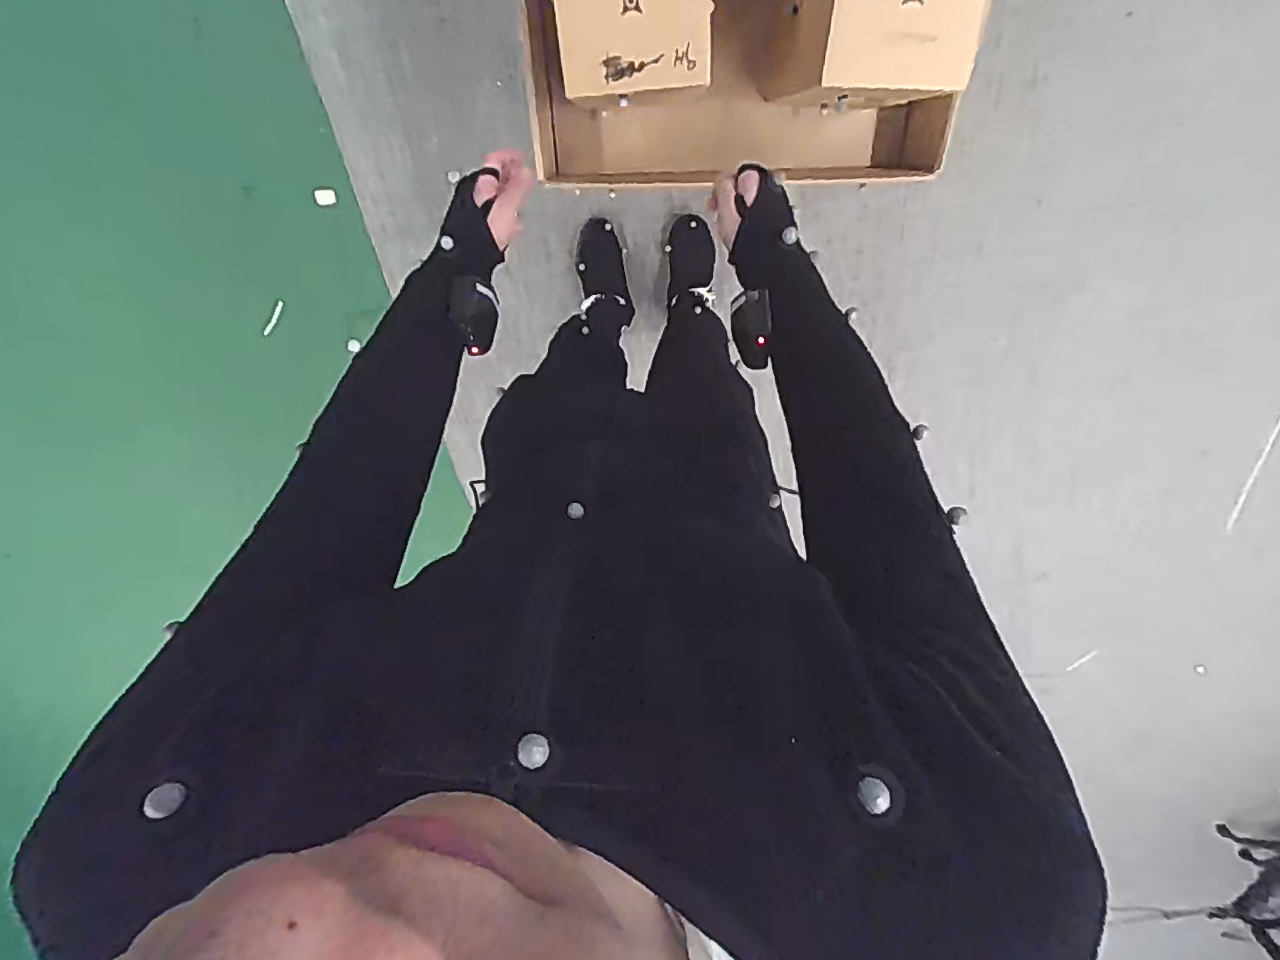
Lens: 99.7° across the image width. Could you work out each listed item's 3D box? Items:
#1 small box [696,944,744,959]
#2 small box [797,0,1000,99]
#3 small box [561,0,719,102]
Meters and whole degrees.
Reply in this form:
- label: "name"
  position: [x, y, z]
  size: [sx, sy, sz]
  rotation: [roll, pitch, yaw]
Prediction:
- label: "small box"
  position: [0.289, 1.748, 1.876]
  size: [0.168, 0.176, 0.179]
  rotation: [-8, 120, 5]
- label: "small box"
  position: [0.290, -0.551, 0.616]
  size: [0.168, 0.176, 0.179]
  rotation: [2, 122, -1]
- label: "small box"
  position: [-0.002, -0.550, 0.616]
  size: [0.168, 0.176, 0.179]
  rotation: [-3, 122, 2]
